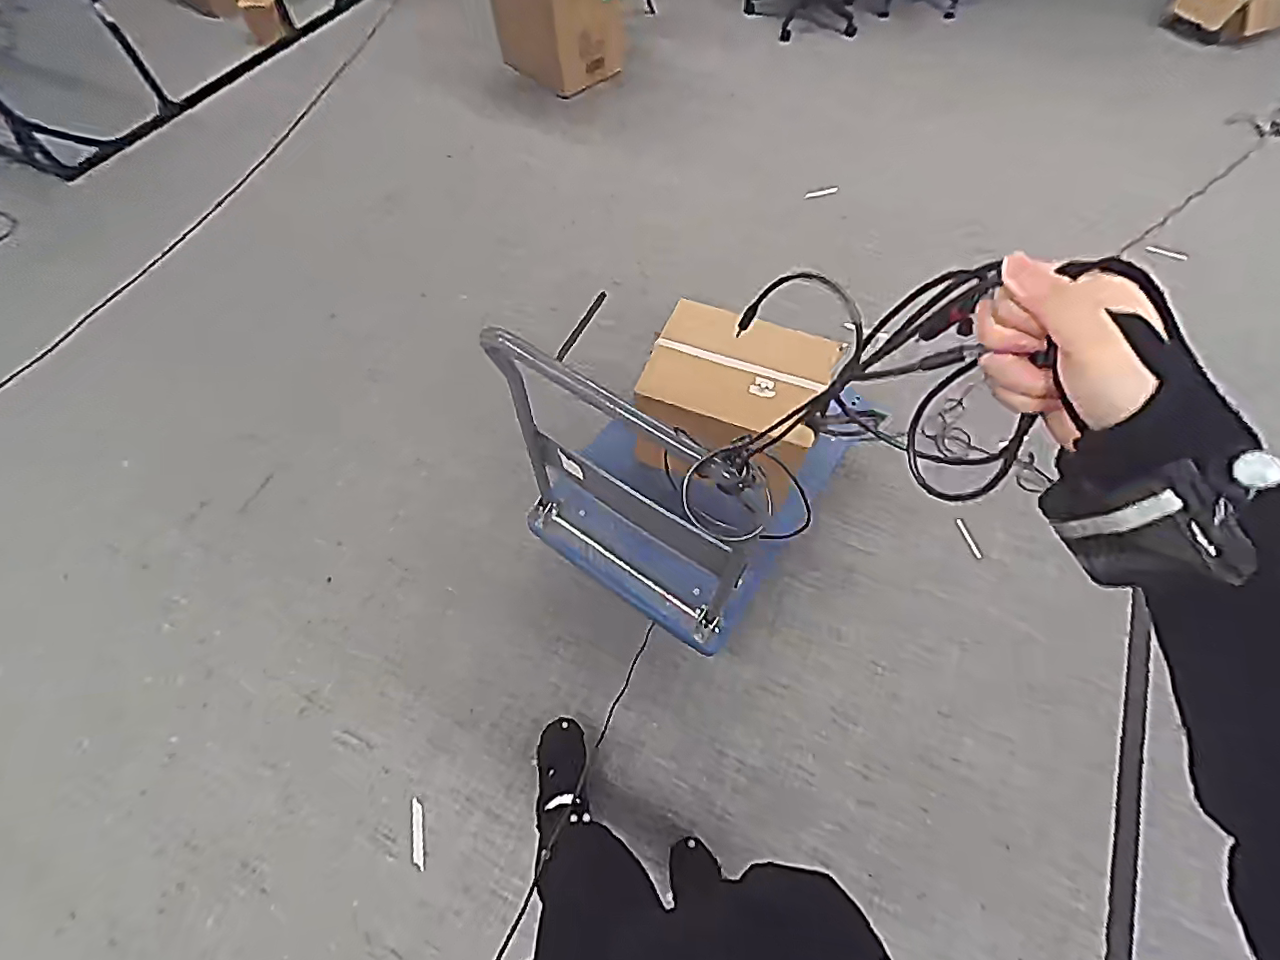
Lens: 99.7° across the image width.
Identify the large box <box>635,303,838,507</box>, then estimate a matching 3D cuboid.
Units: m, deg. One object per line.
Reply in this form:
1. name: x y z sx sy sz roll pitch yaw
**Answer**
1. large box: 0.222 -0.181 1.358 0.408 0.320 0.320 20 64 10
